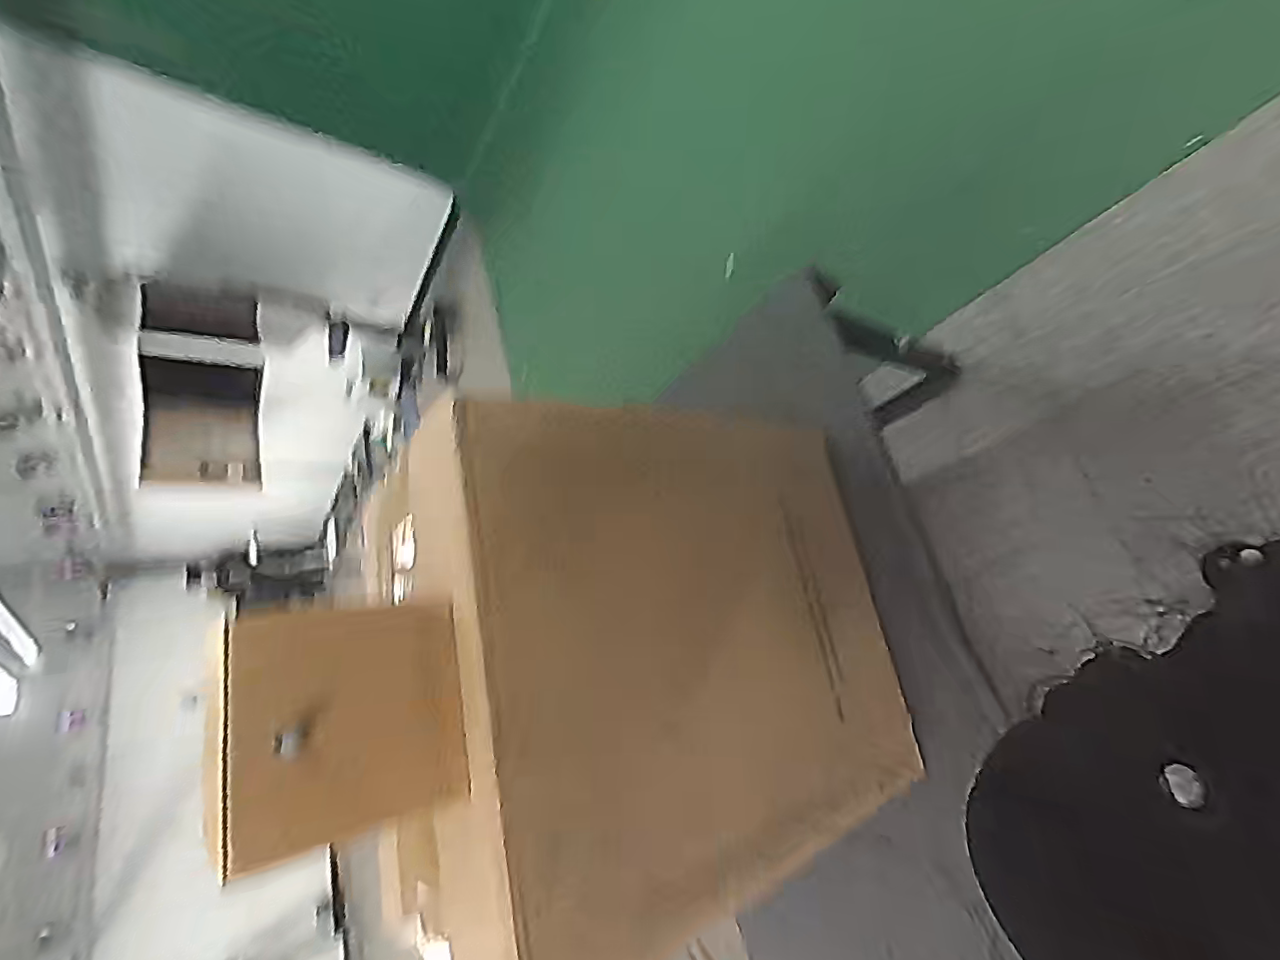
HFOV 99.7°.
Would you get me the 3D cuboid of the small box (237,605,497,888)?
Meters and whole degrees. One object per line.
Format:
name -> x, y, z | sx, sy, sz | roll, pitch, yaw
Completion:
small box -> -0.246, 0.214, 0.485 | 0.168, 0.176, 0.179 | -28, 68, 45
